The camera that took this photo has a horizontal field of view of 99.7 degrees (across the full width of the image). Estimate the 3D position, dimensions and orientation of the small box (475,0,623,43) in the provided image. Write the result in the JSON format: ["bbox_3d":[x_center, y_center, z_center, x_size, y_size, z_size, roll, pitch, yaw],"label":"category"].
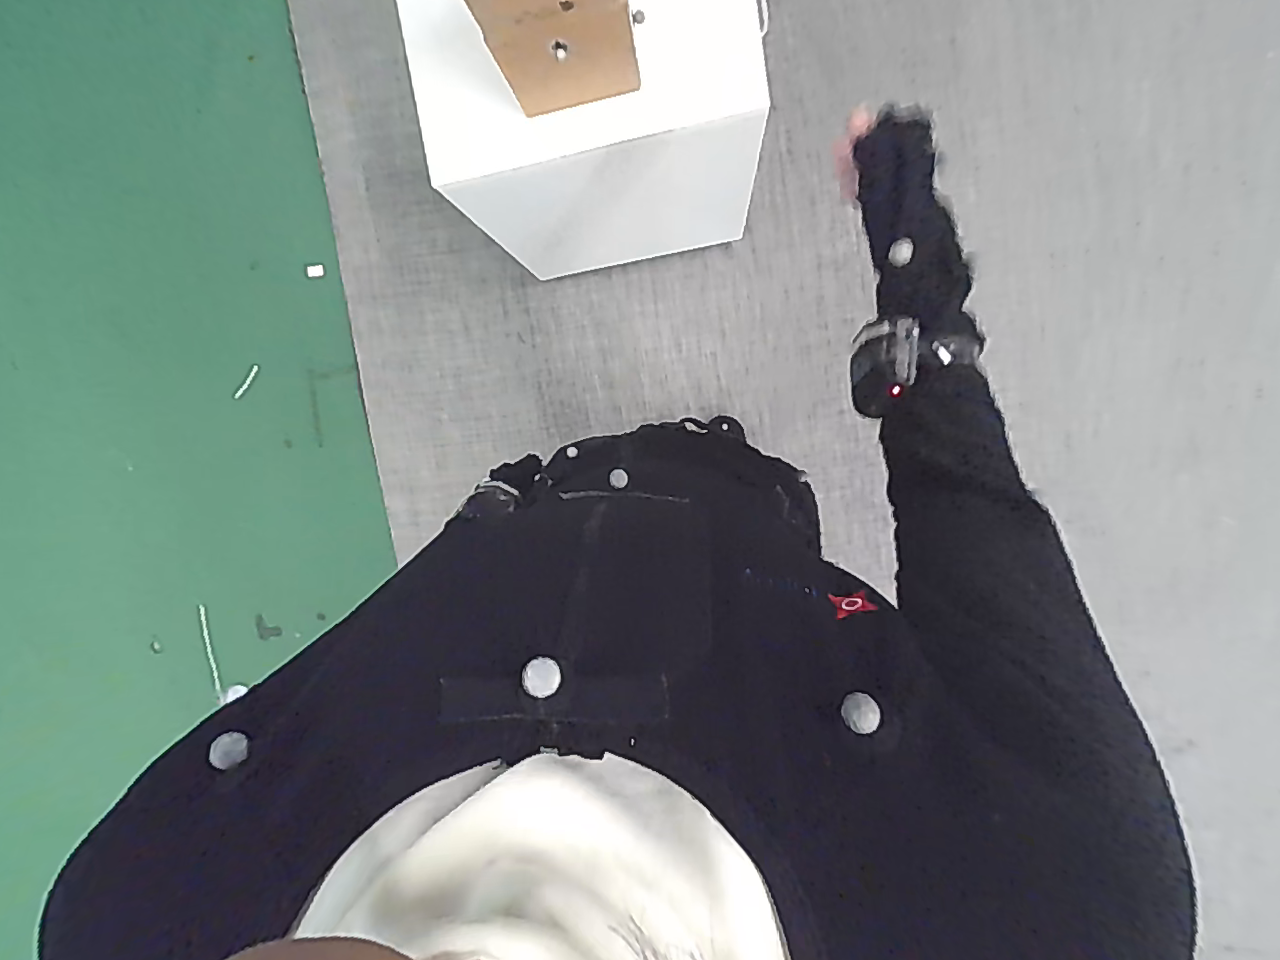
[{"bbox_3d":[-0.118,-0.602,0.544,0.168,0.176,0.179,-10,95,7],"label":"small box"}]

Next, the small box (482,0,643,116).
[{"bbox_3d":[-0.101,-0.615,0.704,0.179,0.176,0.168,-9,95,7],"label":"small box"}]
